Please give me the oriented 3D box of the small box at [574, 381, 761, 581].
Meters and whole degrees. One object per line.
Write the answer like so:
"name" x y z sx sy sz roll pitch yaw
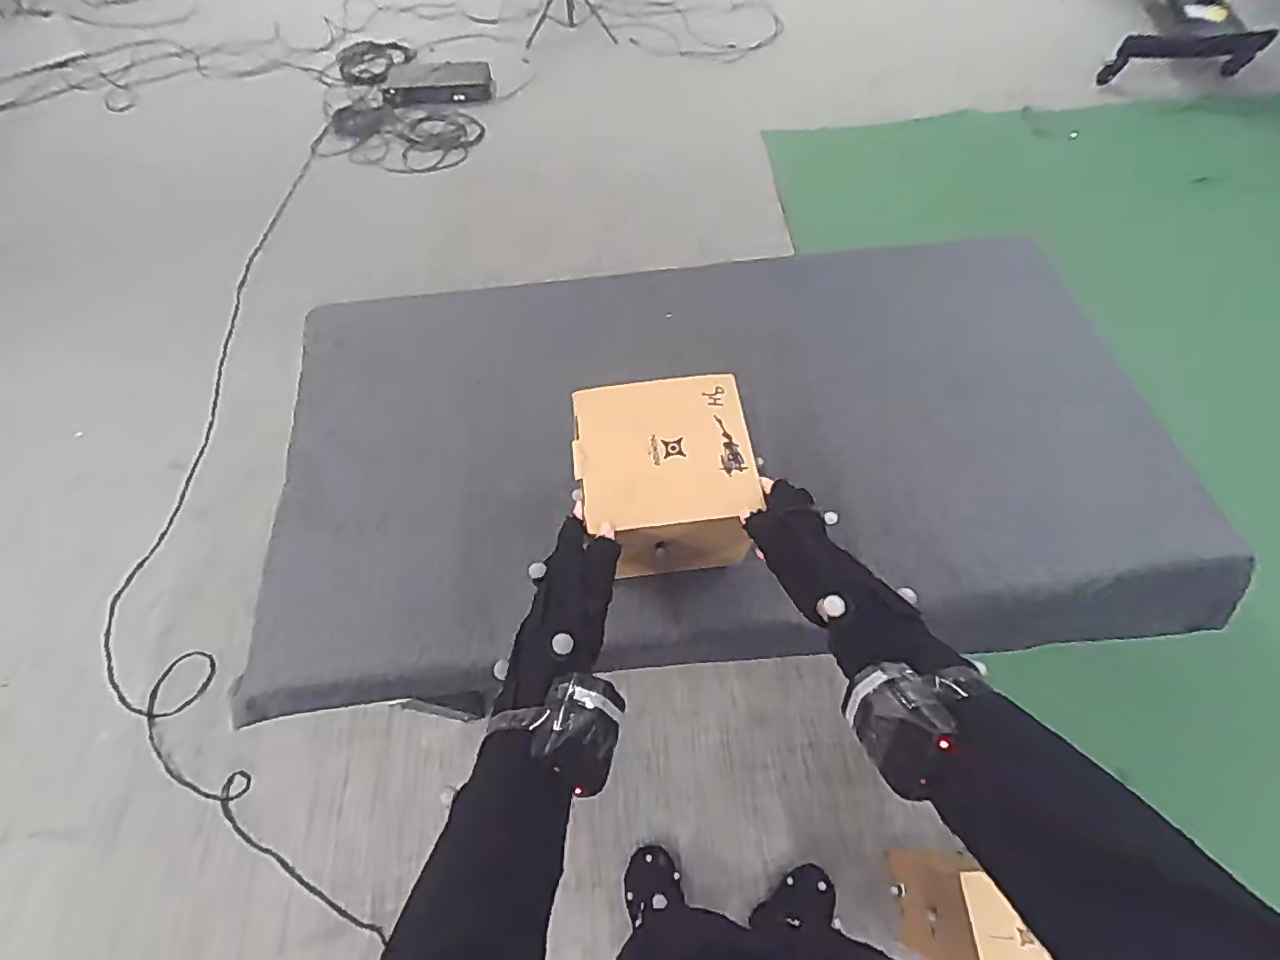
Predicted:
"small box" 0.025 0.009 0.618 0.179 0.176 0.168 -6 64 -2

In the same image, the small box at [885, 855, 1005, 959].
"small box" 0.594 0.819 1.023 0.179 0.176 0.168 0 60 2
